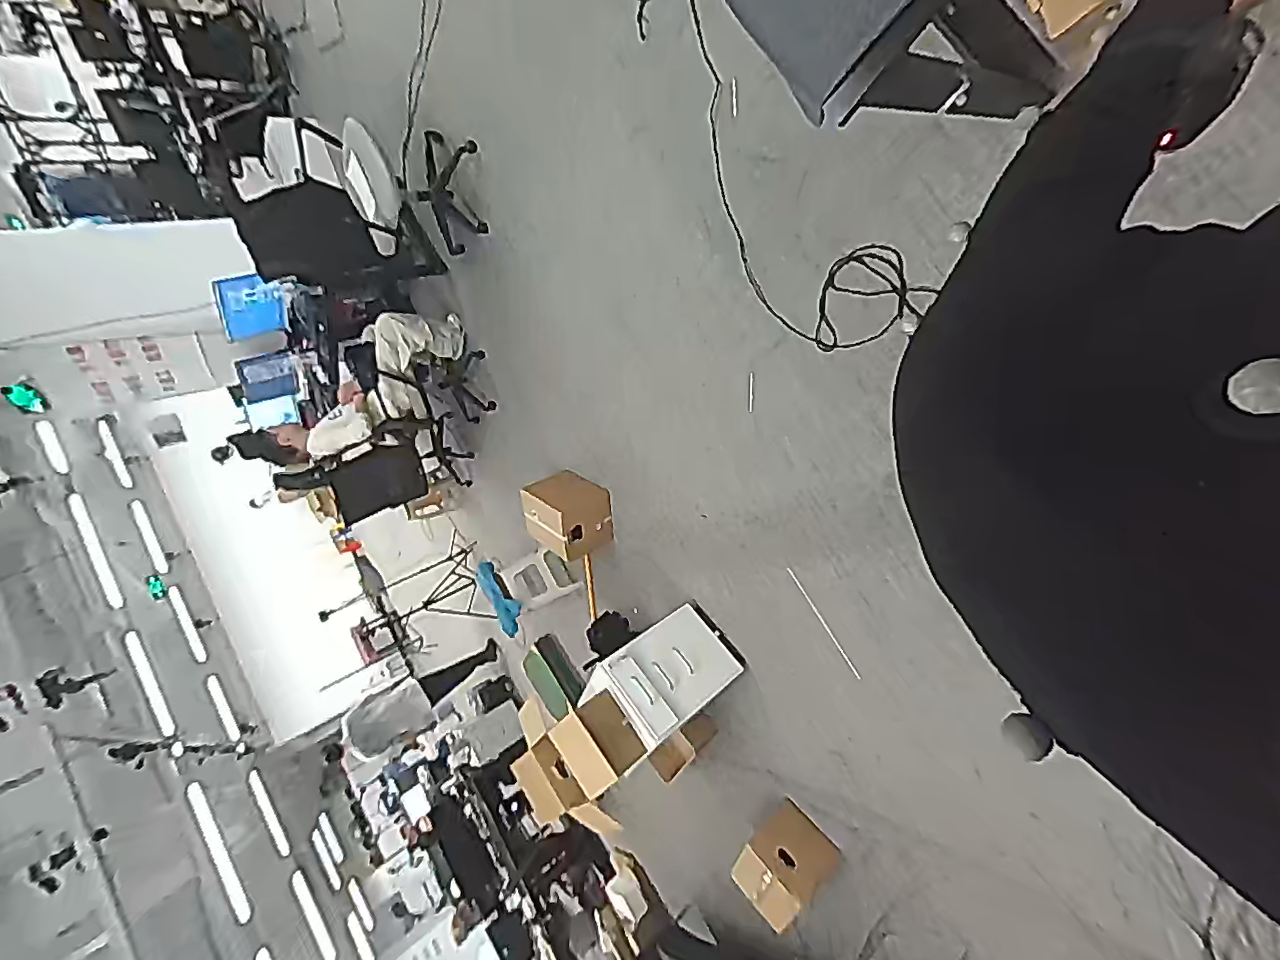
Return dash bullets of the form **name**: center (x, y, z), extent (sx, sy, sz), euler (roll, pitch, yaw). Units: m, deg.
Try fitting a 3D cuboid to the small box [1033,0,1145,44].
- **small box**: center (0.792, -0.888, 0.918), extent (0.179, 0.176, 0.168), euler (-22, 93, 56)
